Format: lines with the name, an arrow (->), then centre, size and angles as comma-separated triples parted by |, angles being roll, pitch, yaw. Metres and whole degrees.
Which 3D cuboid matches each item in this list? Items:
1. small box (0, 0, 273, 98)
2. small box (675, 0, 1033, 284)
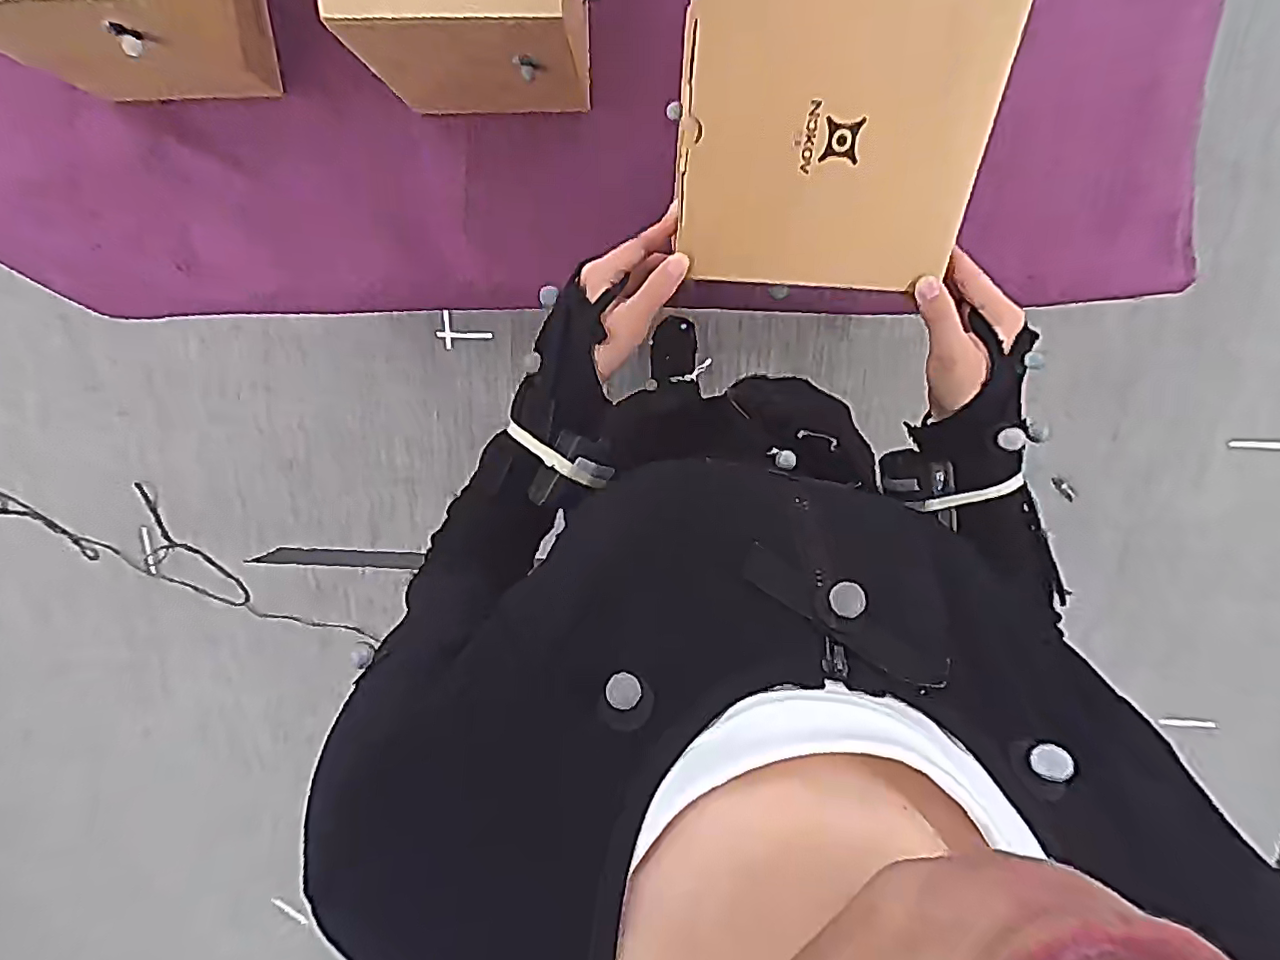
small box -> -0.438, -0.440, 0.442 | 0.179, 0.176, 0.168 | -2, 105, 0
small box -> 0.119, -0.246, 0.383 | 0.179, 0.176, 0.168 | 4, 121, 2
